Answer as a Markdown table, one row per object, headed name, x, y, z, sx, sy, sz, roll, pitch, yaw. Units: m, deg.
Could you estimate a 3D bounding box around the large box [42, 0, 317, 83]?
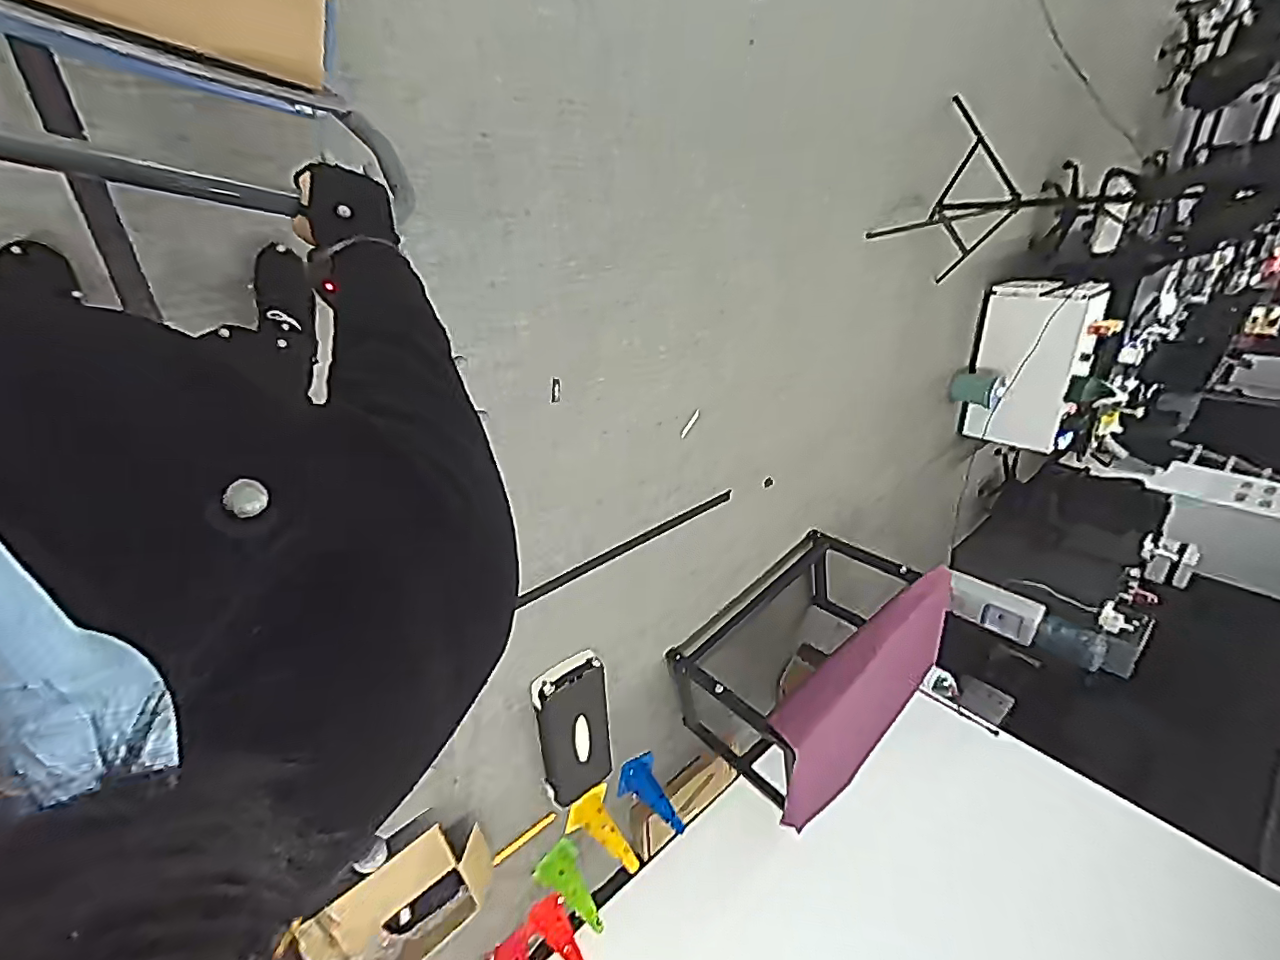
| name | x | y | z | sx | sy | sz | roll | pitch | yaw |
| --- | --- | --- | --- | --- | --- | --- | --- | --- | --- |
| large box | -0.683 | -0.786 | 0.706 | 0.408 | 0.320 | 0.320 | -7 | 130 | -41 |
